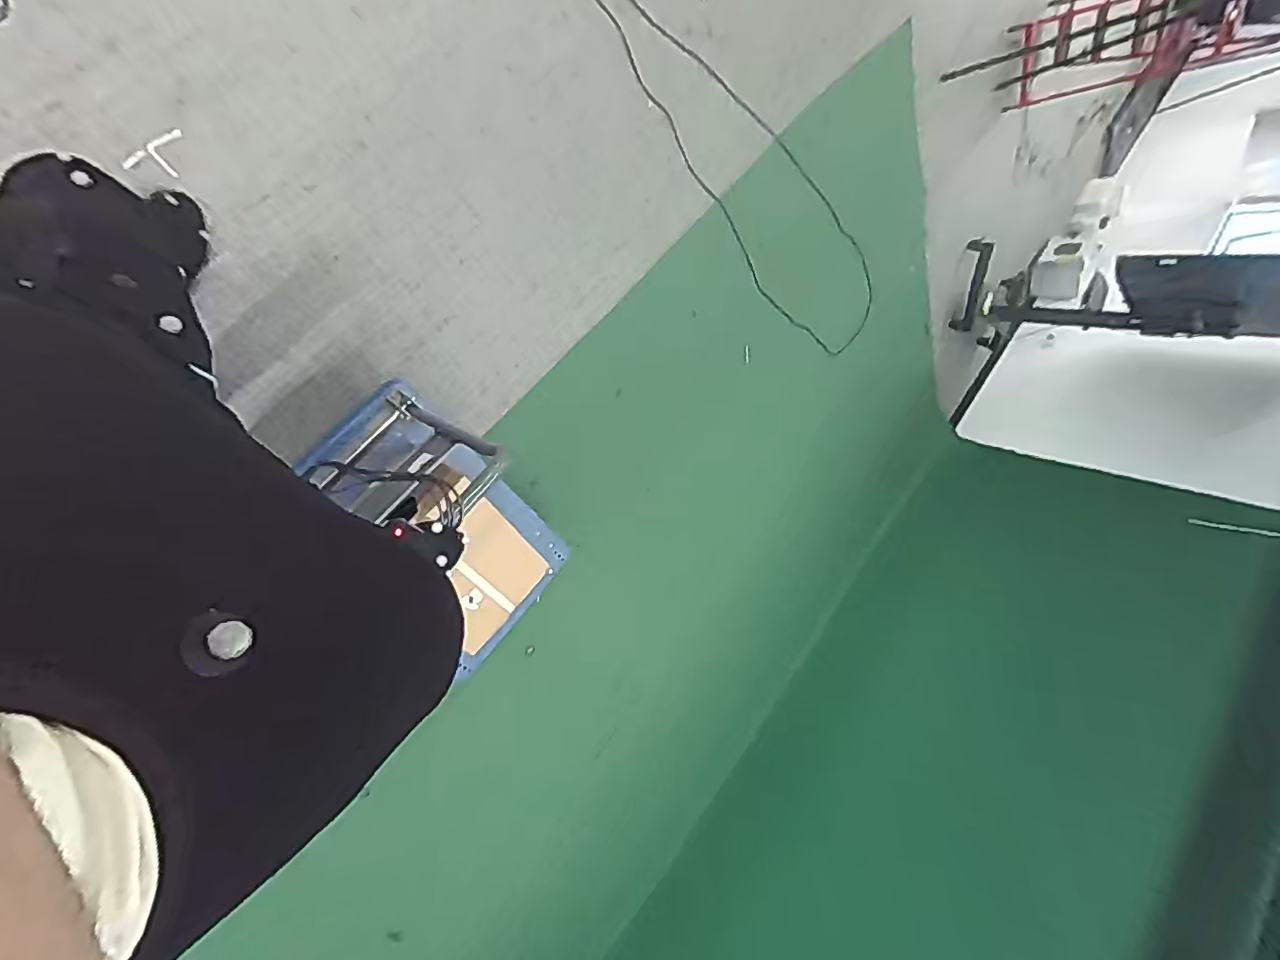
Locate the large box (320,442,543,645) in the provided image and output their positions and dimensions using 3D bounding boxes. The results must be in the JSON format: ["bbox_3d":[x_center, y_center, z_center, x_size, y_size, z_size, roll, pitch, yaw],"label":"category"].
[{"bbox_3d":[-0.545,0.166,1.446,0.320,0.320,0.408,-48,135,-18],"label":"large box"}]
